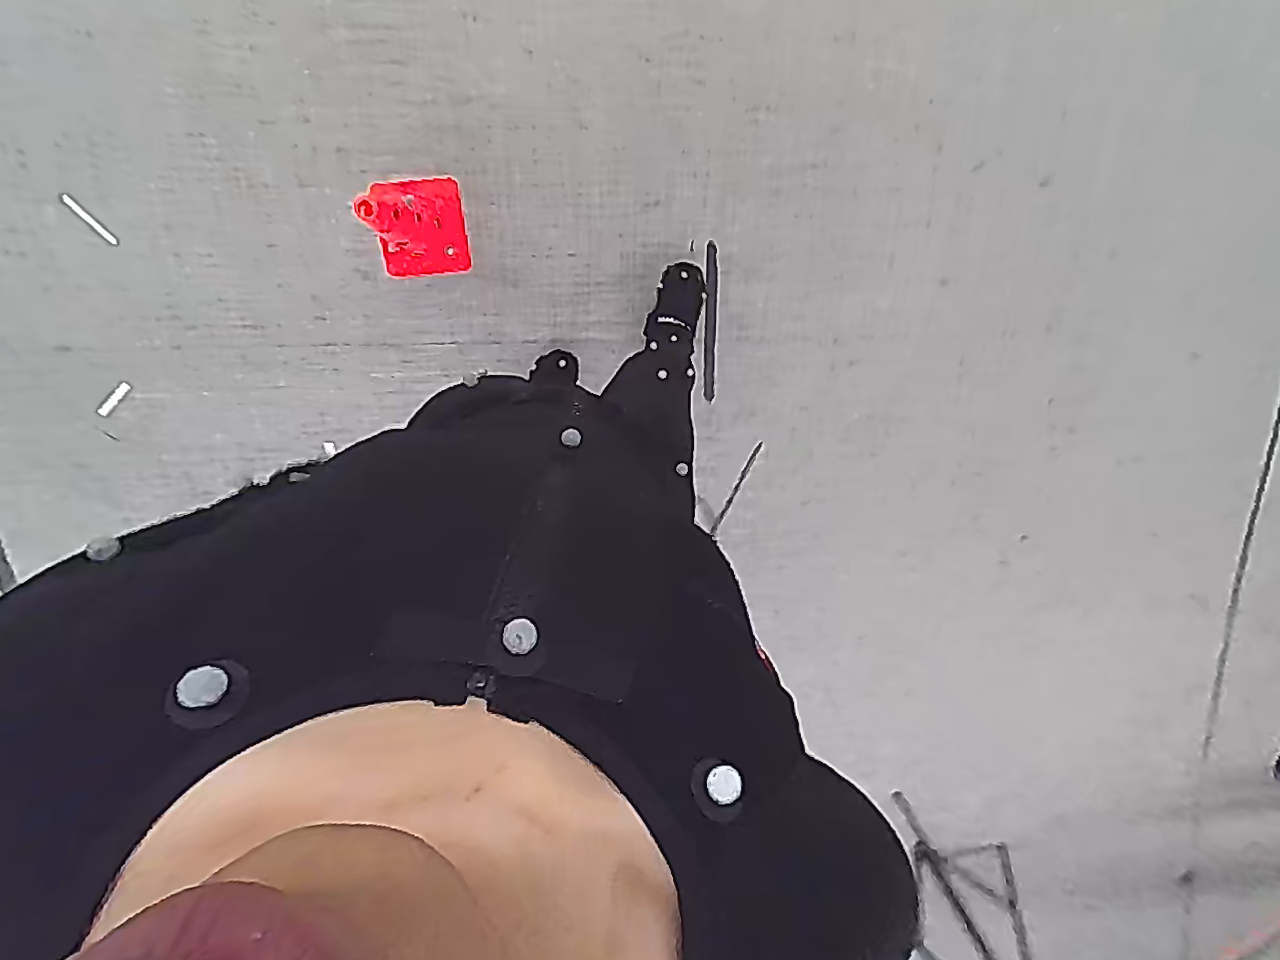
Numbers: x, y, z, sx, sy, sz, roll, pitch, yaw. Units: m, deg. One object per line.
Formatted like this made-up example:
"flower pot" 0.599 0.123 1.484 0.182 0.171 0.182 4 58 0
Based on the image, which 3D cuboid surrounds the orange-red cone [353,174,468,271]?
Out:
"orange-red cone" -0.482 -0.527 1.065 0.198 0.360 0.199 -6 109 -5
